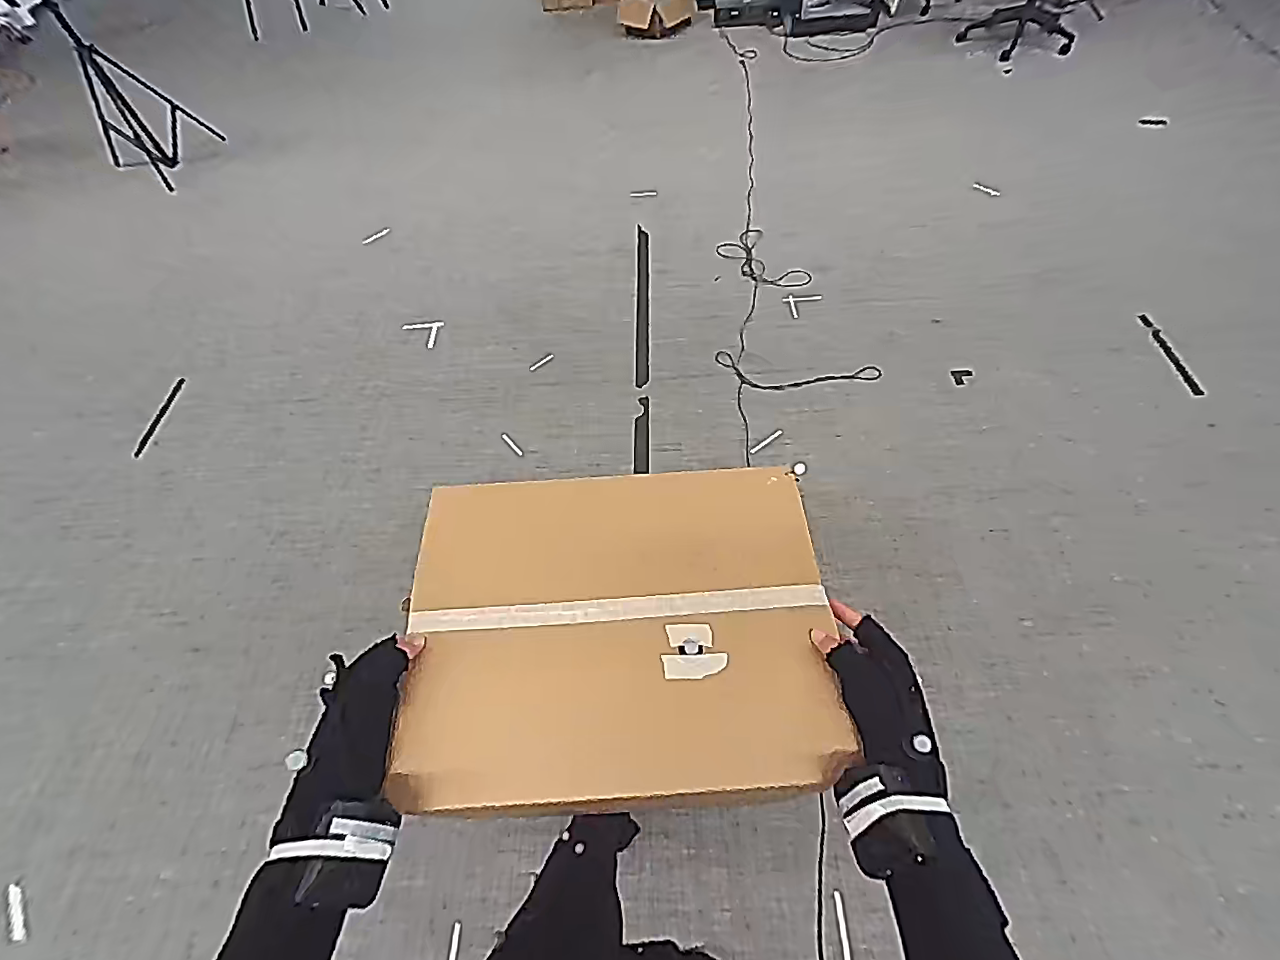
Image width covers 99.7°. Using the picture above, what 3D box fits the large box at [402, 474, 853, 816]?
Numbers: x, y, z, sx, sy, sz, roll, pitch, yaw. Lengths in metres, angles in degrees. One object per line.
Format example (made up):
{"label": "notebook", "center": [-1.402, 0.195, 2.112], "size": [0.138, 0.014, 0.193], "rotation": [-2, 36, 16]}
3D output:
{"label": "large box", "center": [-0.019, 0.216, 0.672], "size": [0.408, 0.320, 0.320], "rotation": [-3, 57, -1]}
